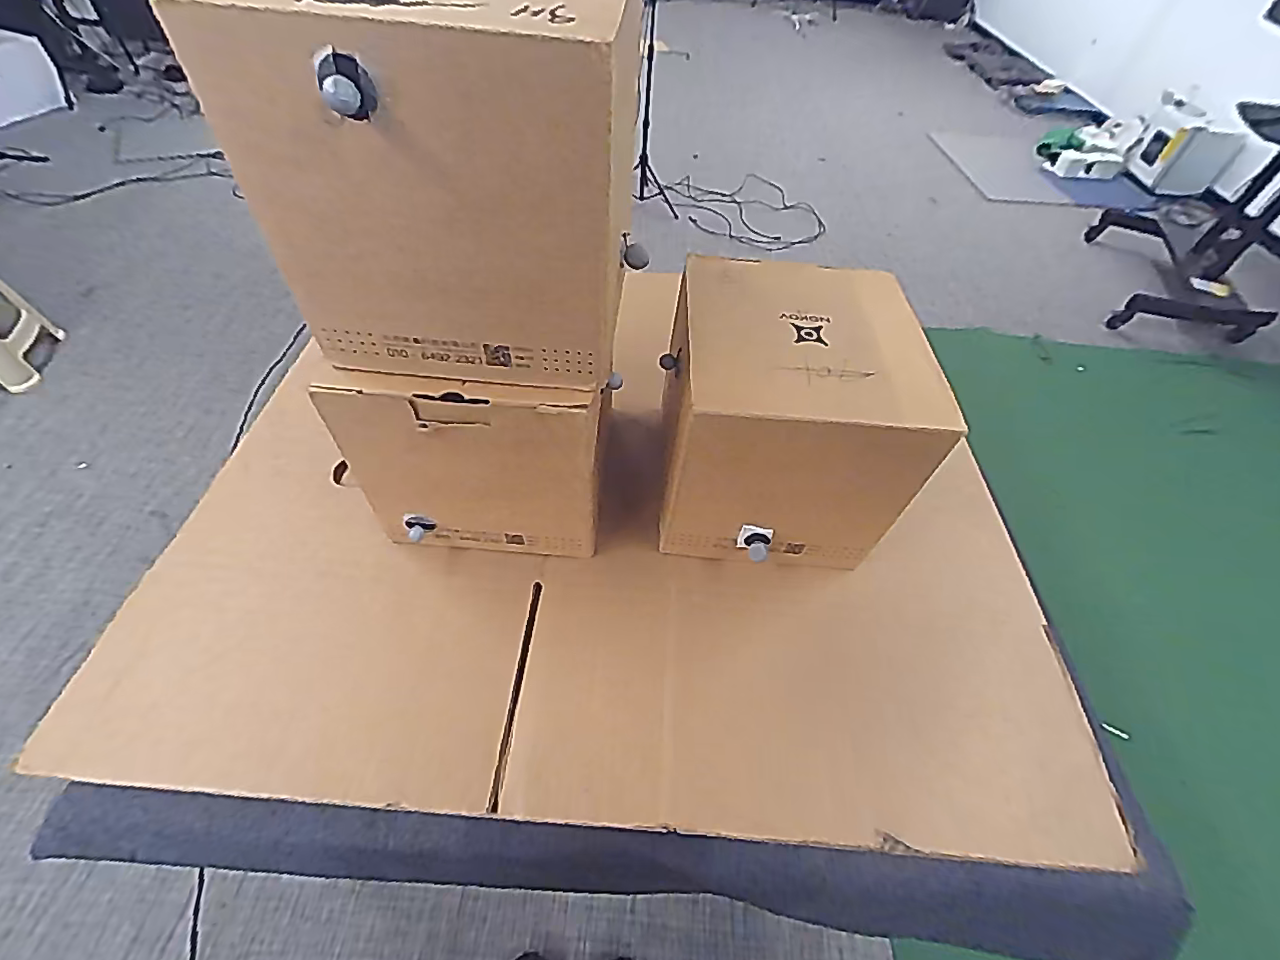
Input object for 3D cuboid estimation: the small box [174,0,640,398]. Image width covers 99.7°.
[{"bbox_3d":[-0.094,-0.174,0.316,0.168,0.176,0.179,5,51,0],"label":"small box"}]
